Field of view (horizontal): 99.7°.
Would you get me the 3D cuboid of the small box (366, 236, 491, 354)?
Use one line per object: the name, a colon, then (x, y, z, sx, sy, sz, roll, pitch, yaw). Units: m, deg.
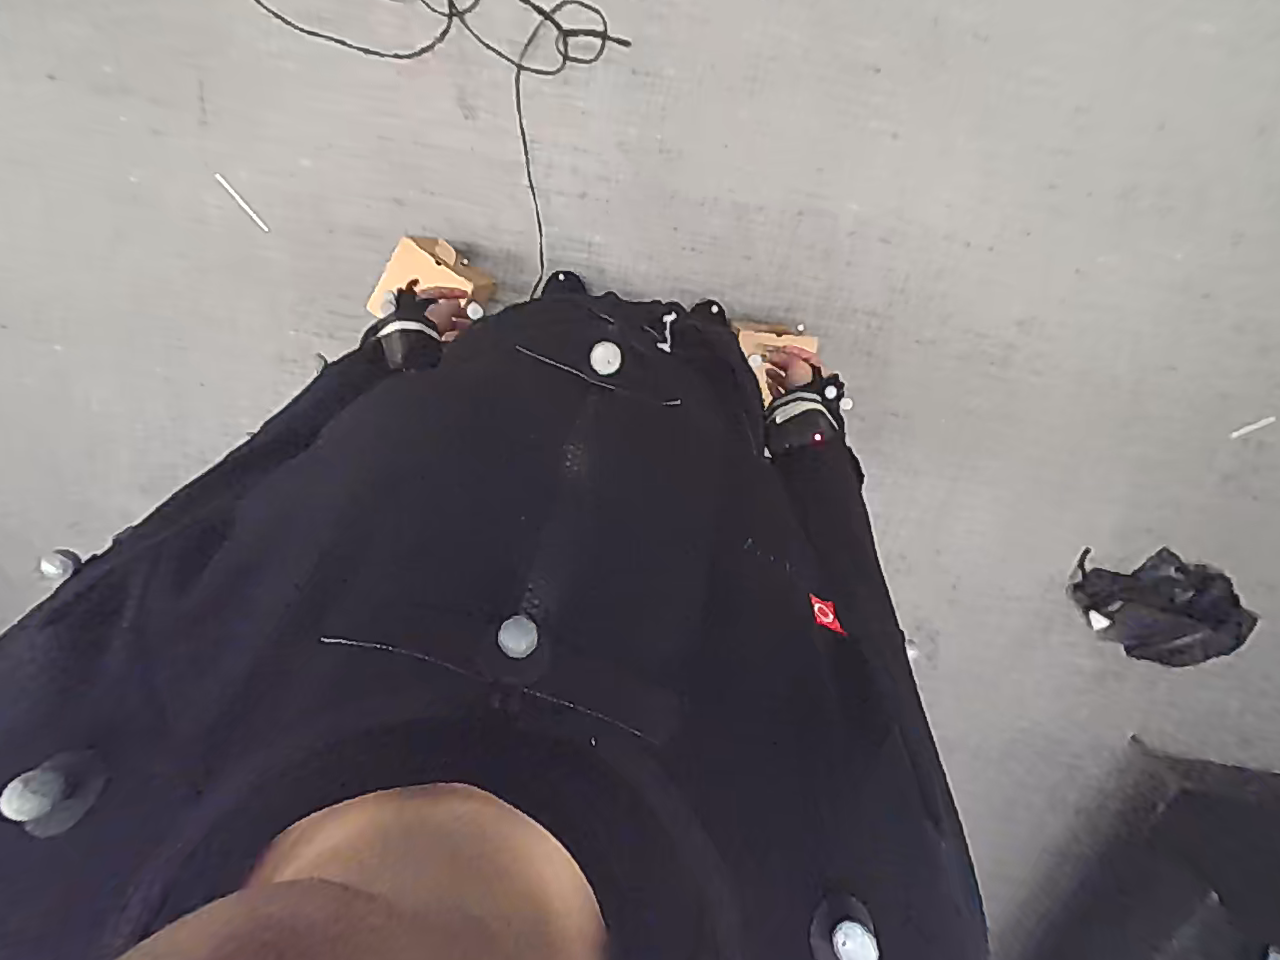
small box: (-0.450, -0.402, 1.177, 0.168, 0.176, 0.179, 34, 109, -11)
